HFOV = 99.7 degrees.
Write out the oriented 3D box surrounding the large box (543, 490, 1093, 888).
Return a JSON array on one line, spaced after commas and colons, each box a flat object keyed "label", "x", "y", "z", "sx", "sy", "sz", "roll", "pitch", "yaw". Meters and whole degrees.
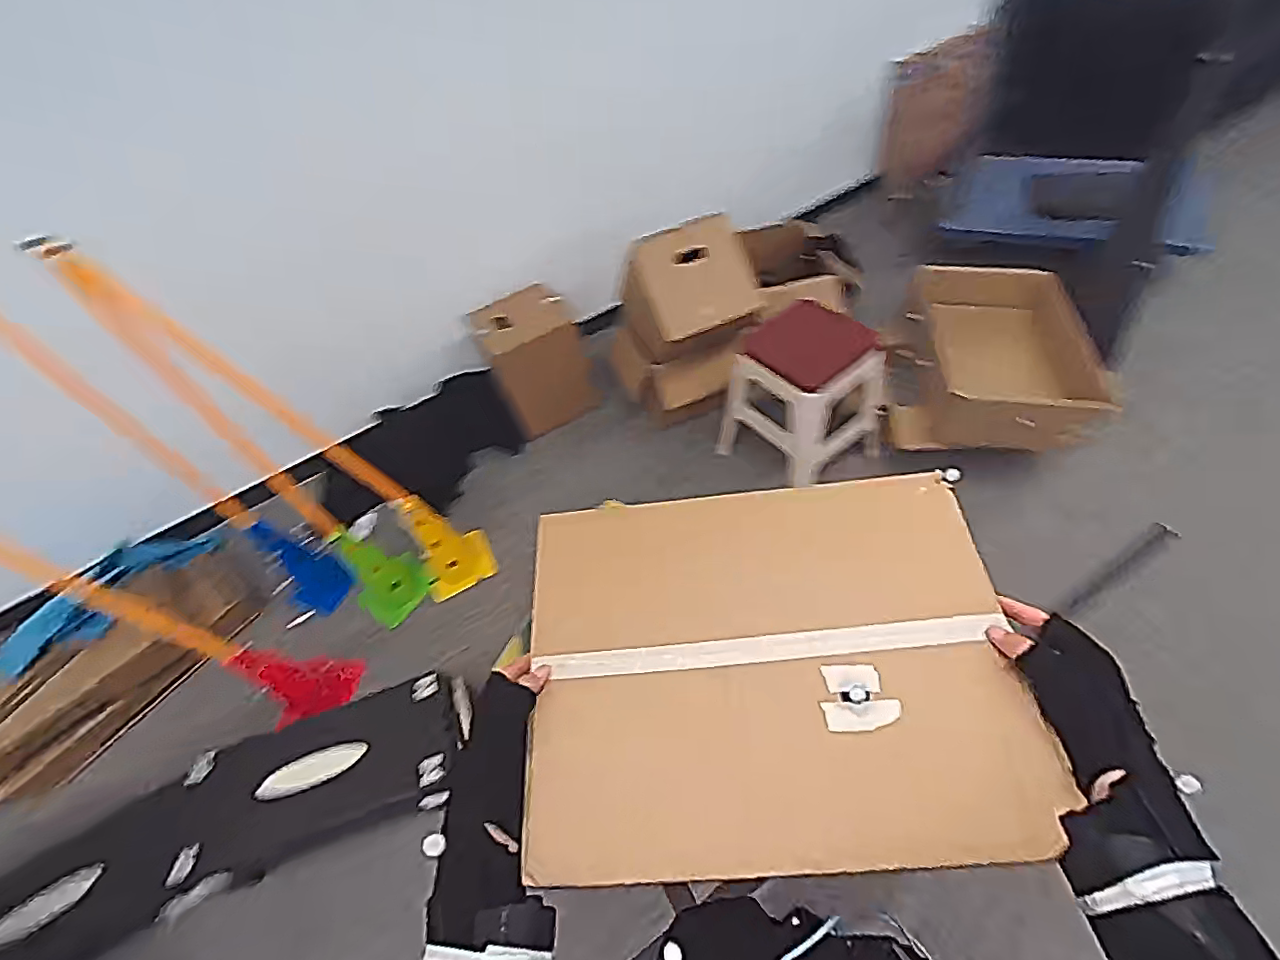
[{"label": "large box", "x": 0.133, "y": 0.238, "z": 0.595, "sx": 0.408, "sy": 0.320, "sz": 0.320, "roll": -5, "pitch": 57, "yaw": 5}]
